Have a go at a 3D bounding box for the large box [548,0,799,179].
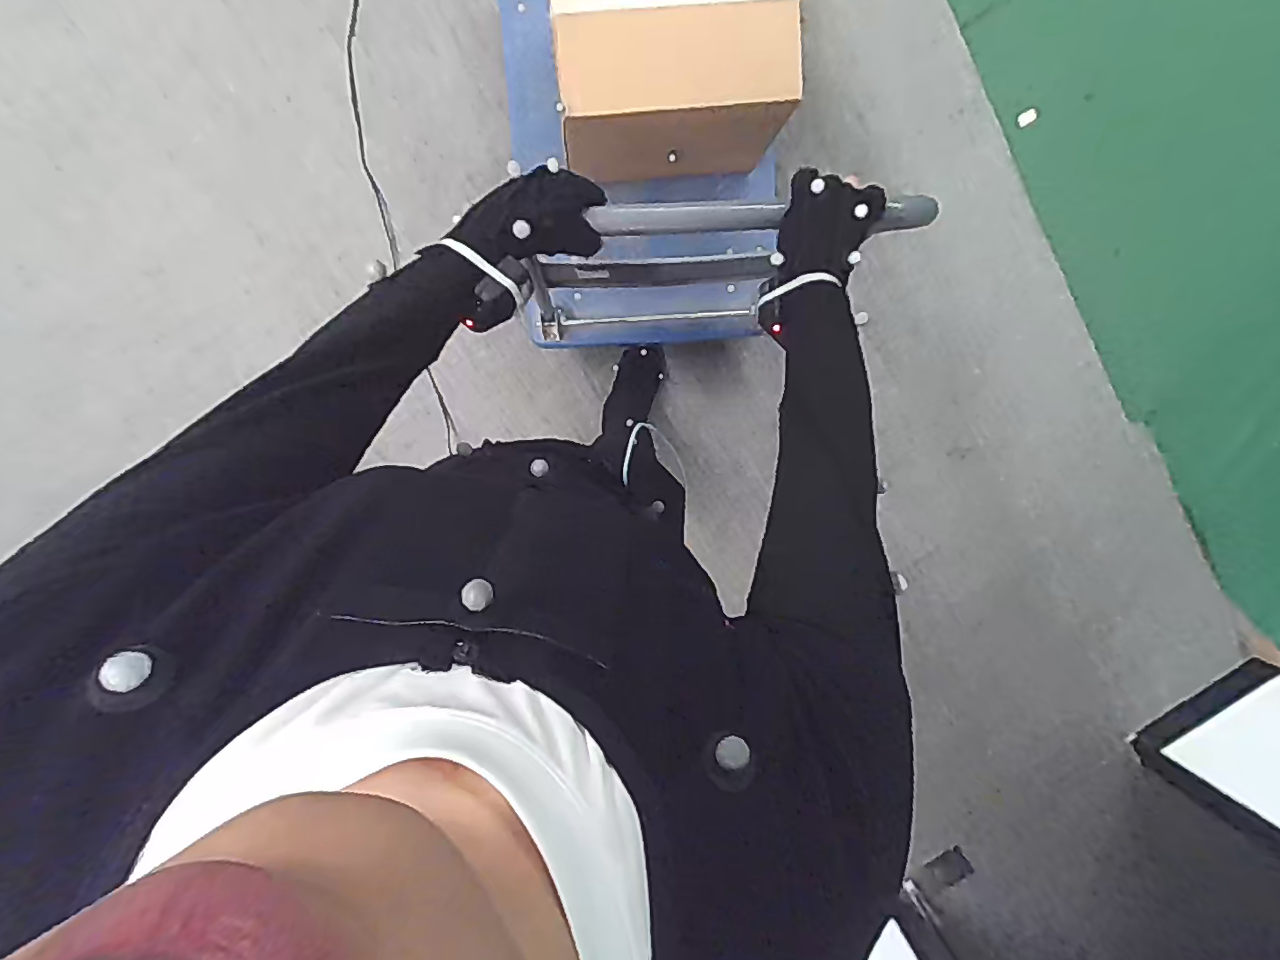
[{"bbox_3d":[0.044,-0.800,1.017,0.408,0.320,0.320,-7,100,-3],"label":"large box"}]
